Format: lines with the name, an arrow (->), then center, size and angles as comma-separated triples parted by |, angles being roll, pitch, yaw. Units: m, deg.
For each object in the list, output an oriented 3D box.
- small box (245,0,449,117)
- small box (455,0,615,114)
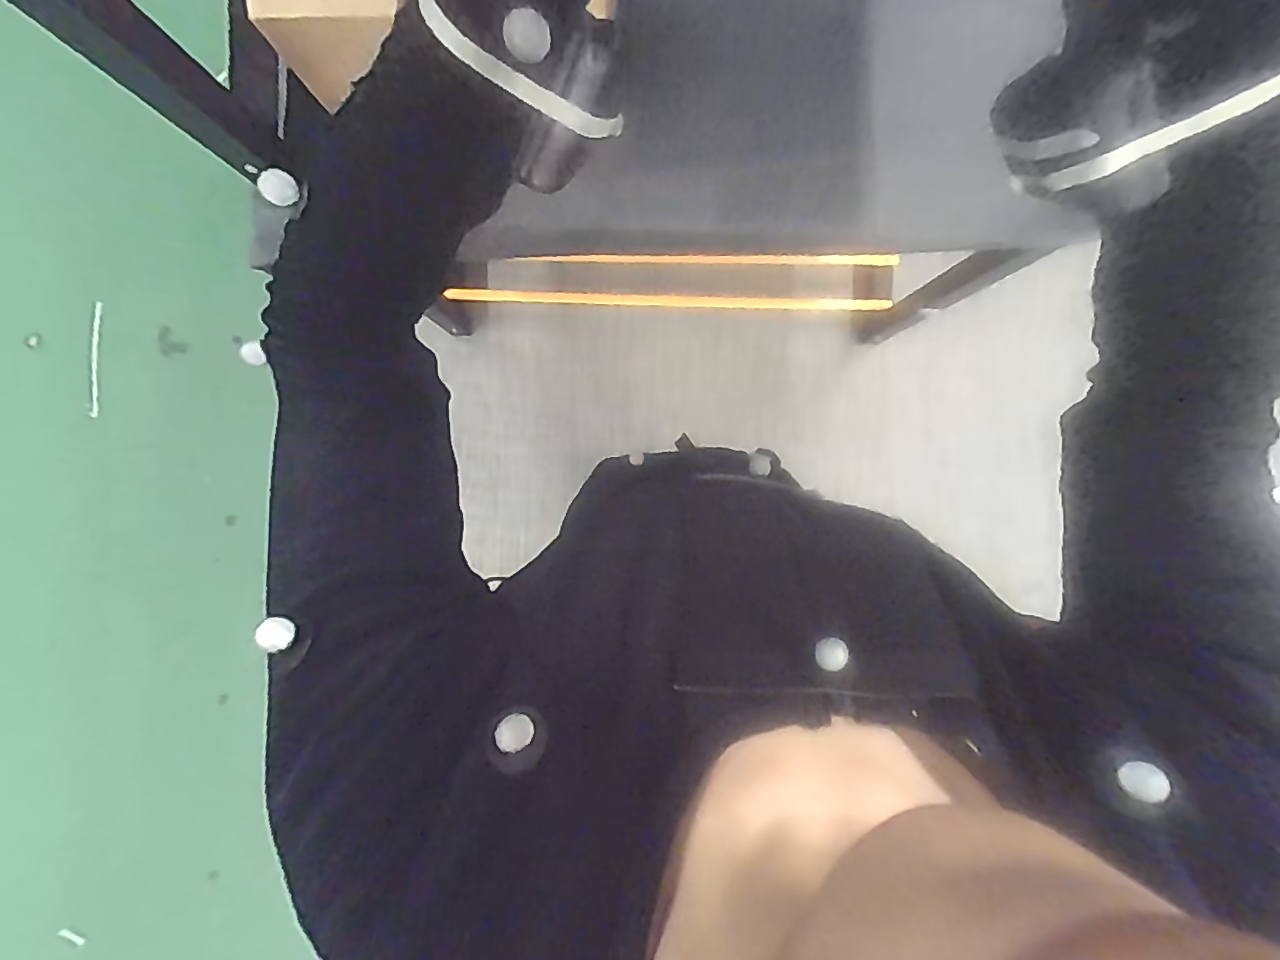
small box -> -0.344, -0.587, 0.662 | 0.168, 0.176, 0.179 | -1, 91, 0
small box -> -0.117, -0.588, 0.664 | 0.168, 0.176, 0.179 | 1, 90, 0
